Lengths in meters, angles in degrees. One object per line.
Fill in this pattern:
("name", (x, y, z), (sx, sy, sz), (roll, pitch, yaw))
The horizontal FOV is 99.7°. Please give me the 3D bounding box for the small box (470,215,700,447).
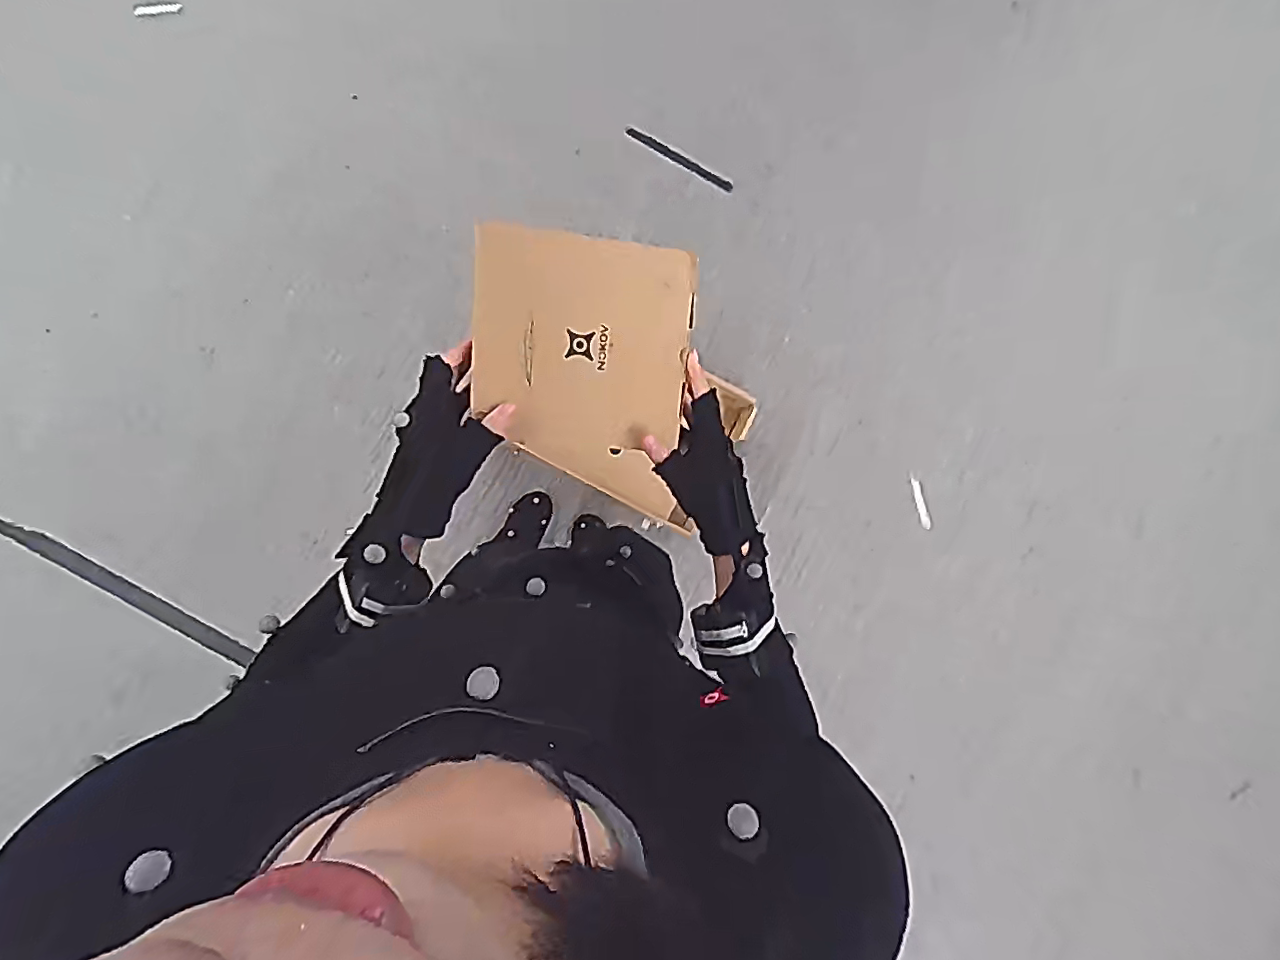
("small box", (-0.057, -0.127, 0.503), (0.179, 0.176, 0.168), (2, 100, -10))
